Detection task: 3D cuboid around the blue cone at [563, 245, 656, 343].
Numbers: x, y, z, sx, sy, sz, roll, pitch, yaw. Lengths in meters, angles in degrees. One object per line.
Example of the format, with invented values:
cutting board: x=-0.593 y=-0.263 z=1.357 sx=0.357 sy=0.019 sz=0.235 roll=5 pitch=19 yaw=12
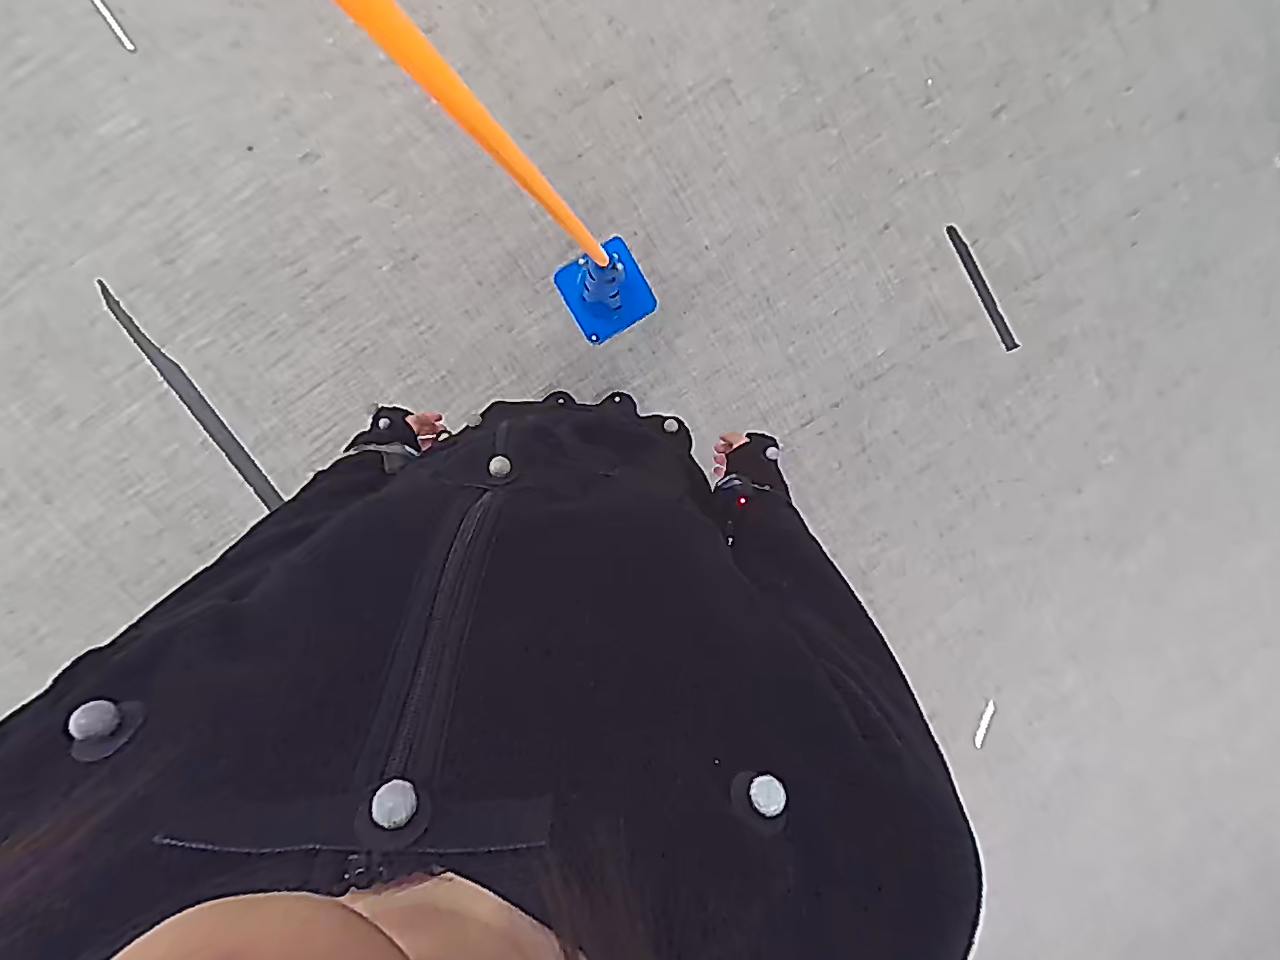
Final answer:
blue cone: x=-0.068 y=-0.430 z=1.172 sx=0.193 sy=0.380 sz=0.192 roll=-29 pitch=101 yaw=3
